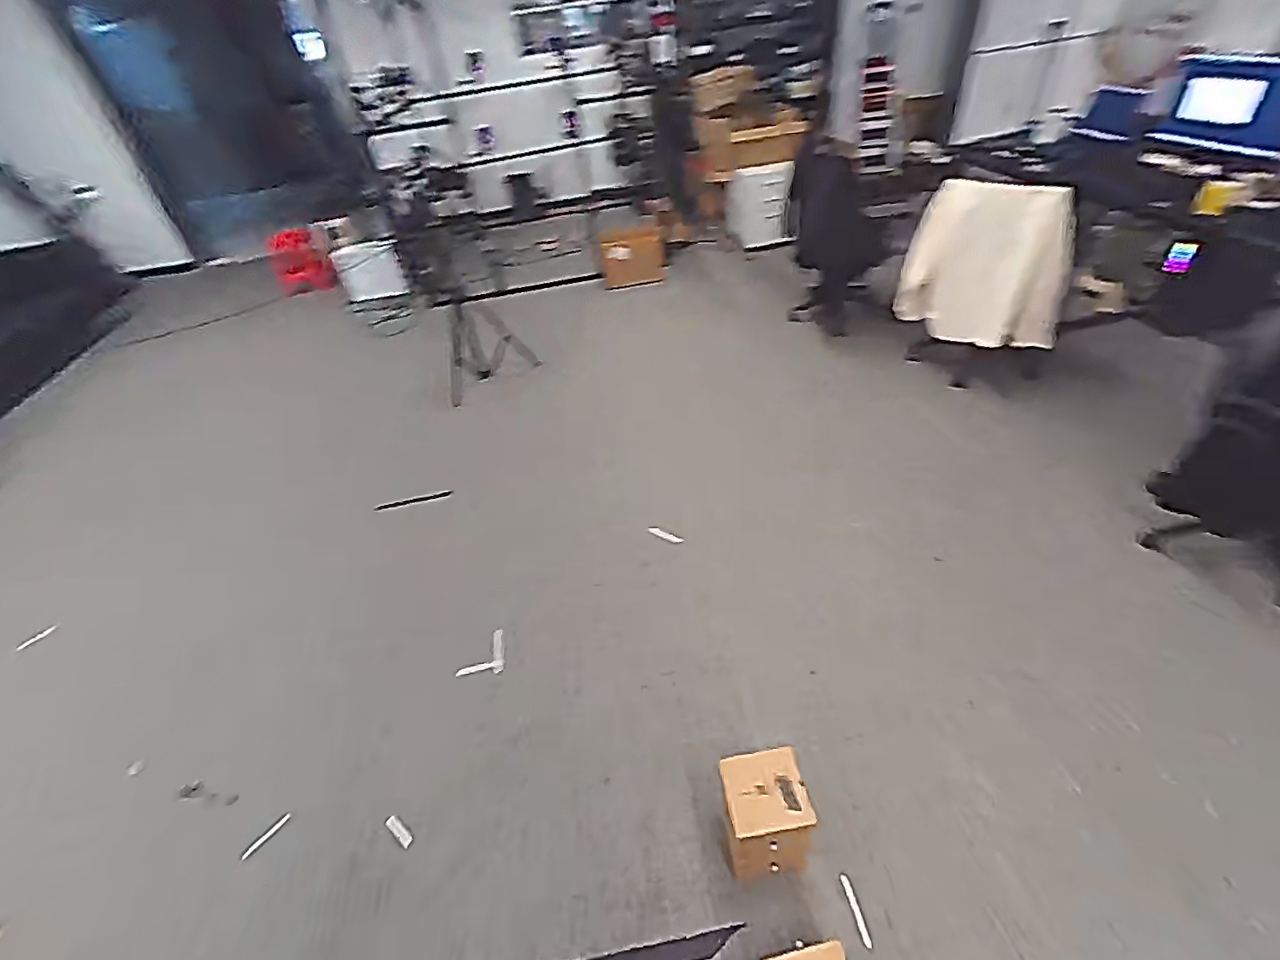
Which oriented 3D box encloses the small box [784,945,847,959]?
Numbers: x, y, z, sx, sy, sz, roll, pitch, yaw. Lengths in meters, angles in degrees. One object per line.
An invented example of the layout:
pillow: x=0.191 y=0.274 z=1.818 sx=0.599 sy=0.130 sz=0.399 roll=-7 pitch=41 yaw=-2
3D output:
small box: x=0.358 y=1.092 z=1.105 sx=0.179 sy=0.176 sz=0.168 roll=-12 pitch=41 yaw=-5

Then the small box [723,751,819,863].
small box: x=0.294 y=0.757 z=1.250 sx=0.179 sy=0.176 sz=0.168 roll=-10 pitch=40 yaw=-1
